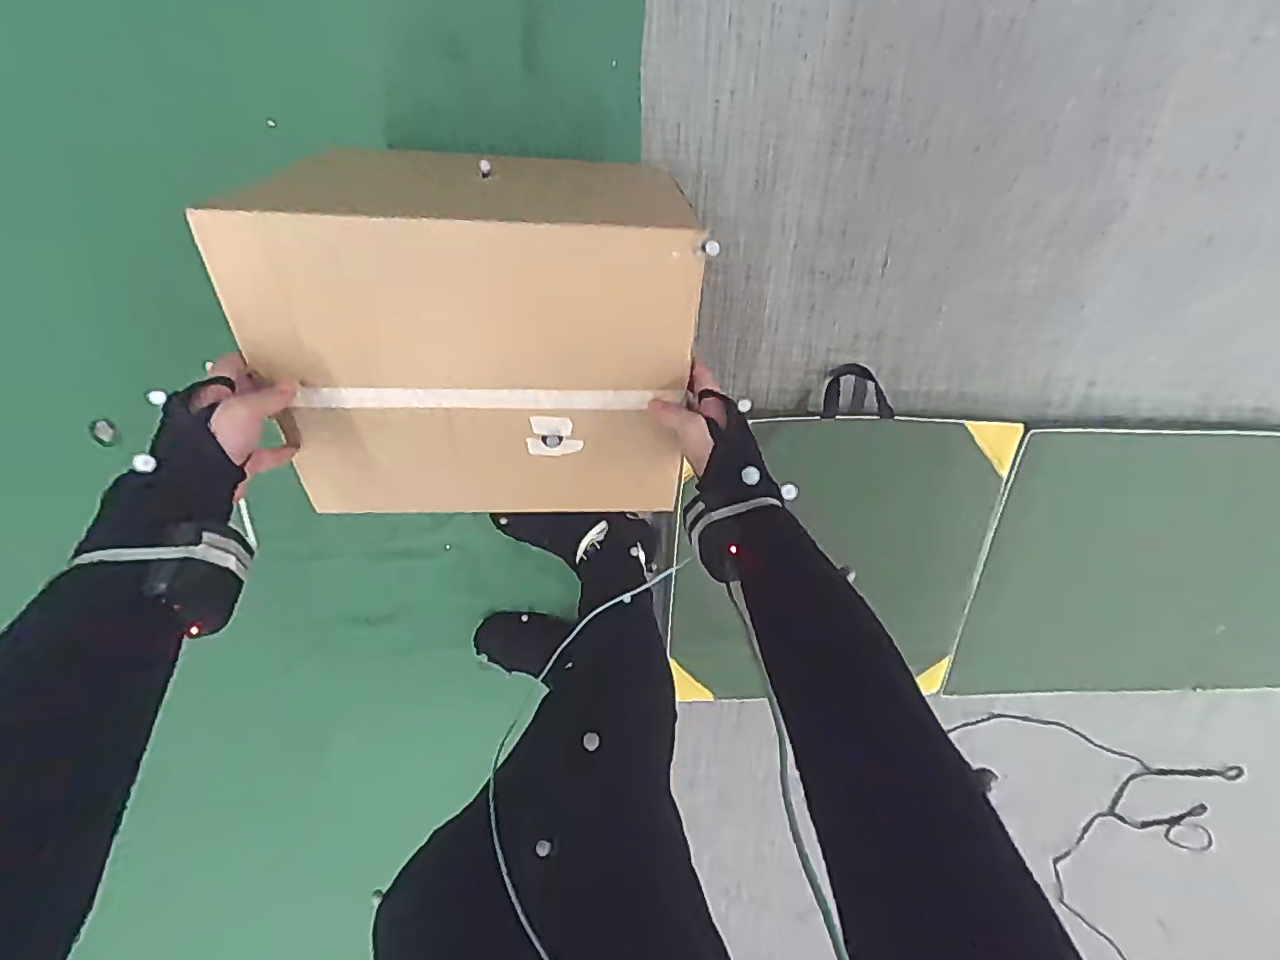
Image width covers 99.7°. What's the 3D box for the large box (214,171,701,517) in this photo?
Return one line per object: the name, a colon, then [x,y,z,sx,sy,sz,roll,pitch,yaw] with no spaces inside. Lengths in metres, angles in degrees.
large box: [-0.163,-0.175,0.652,0.408,0.320,0.320,-1,129,-5]
